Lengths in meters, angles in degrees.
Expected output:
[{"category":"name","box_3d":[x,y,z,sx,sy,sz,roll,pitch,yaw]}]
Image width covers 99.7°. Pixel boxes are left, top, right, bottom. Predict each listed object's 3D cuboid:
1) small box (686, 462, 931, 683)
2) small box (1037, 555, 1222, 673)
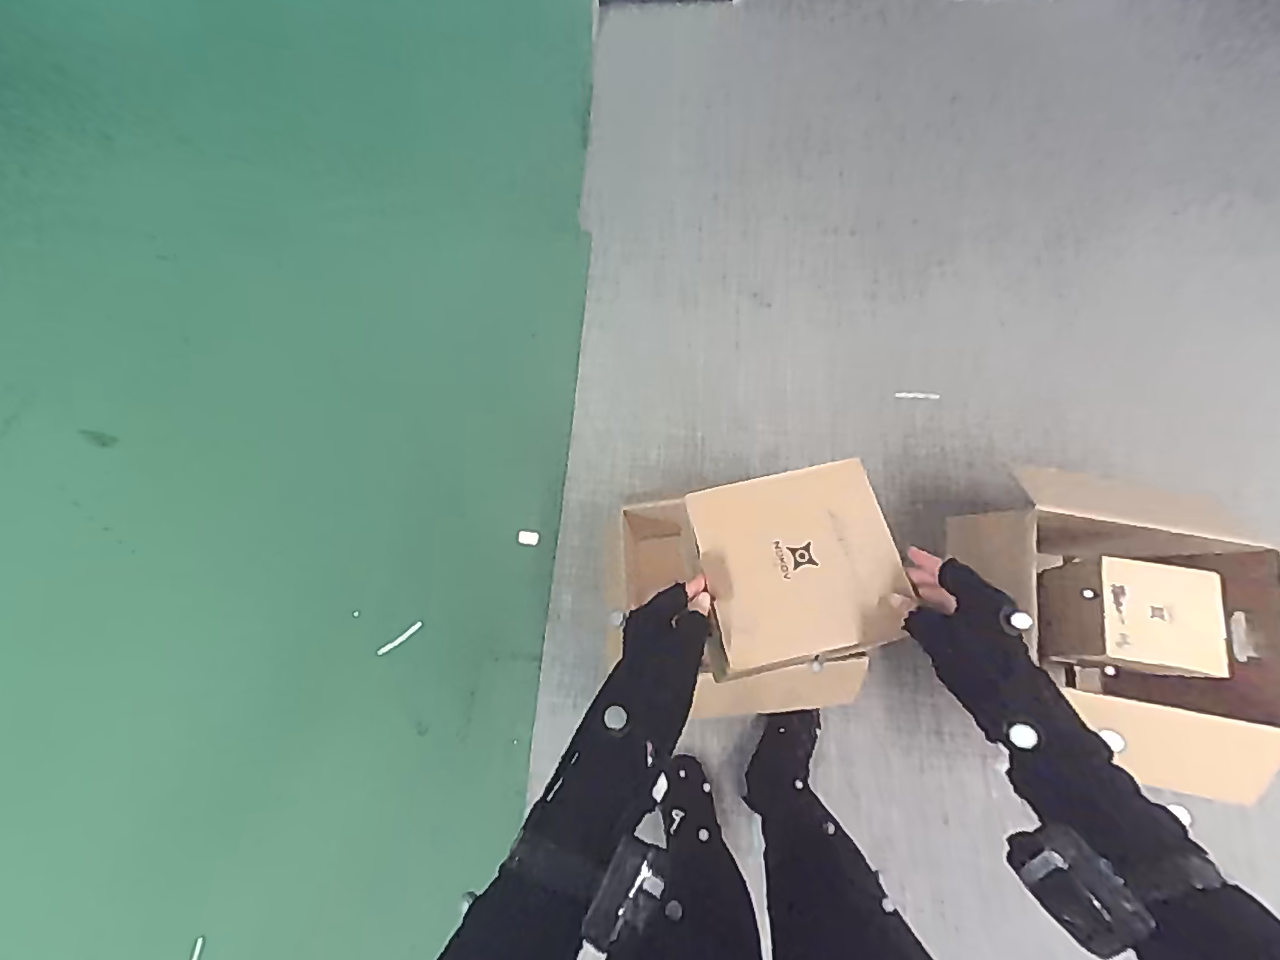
[{"category":"small box","box_3d":[0.149,0.104,0.555,0.179,0.176,0.168,-13,68,-3]},{"category":"small box","box_3d":[0.850,0.239,0.958,0.179,0.176,0.168,8,72,7]}]
